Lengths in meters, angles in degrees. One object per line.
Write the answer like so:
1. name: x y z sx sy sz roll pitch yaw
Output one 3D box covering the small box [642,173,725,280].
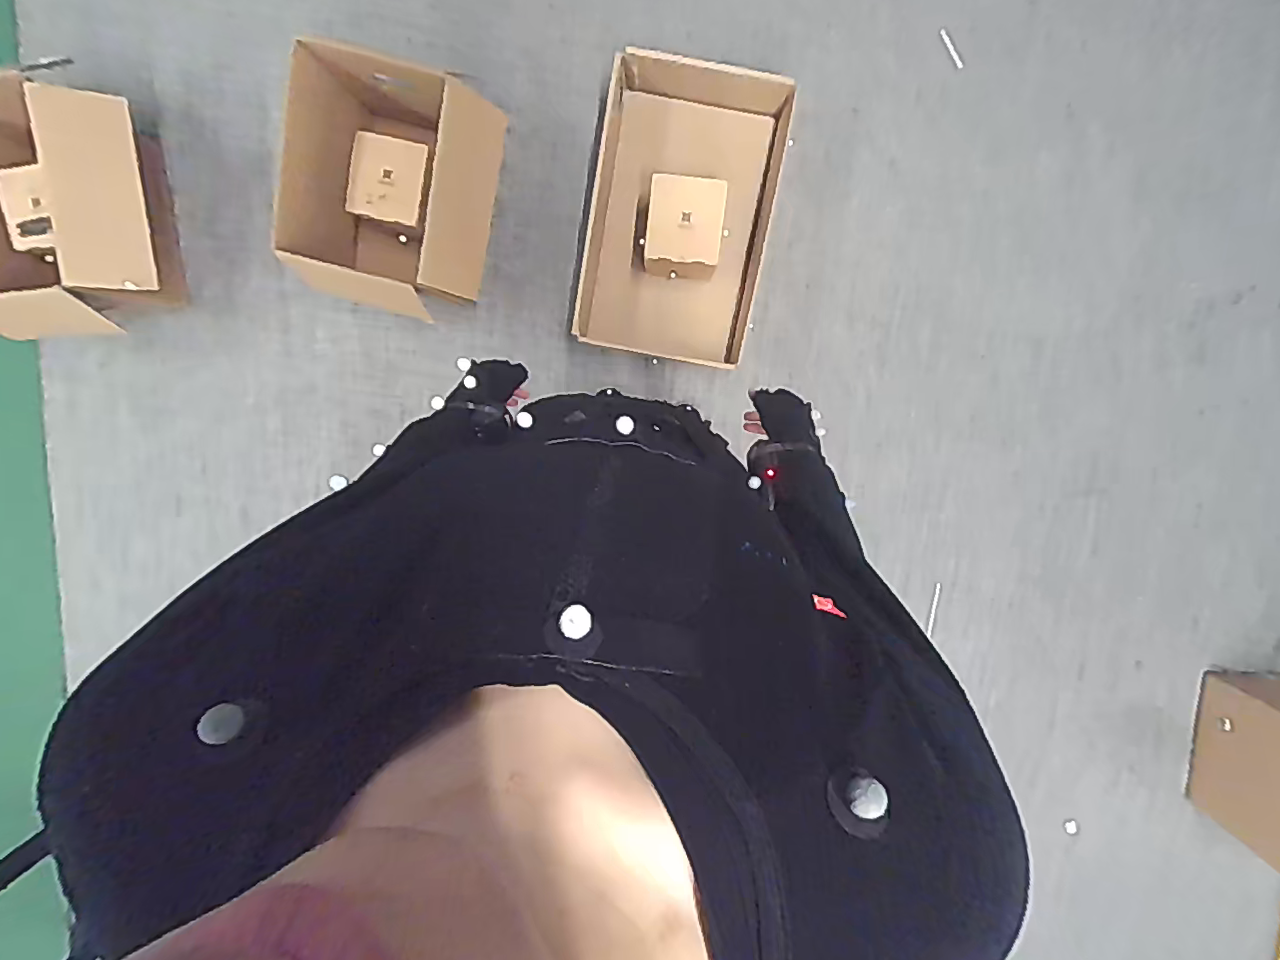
1. small box: 0.093 -0.575 1.245 0.168 0.176 0.179 6 99 0
